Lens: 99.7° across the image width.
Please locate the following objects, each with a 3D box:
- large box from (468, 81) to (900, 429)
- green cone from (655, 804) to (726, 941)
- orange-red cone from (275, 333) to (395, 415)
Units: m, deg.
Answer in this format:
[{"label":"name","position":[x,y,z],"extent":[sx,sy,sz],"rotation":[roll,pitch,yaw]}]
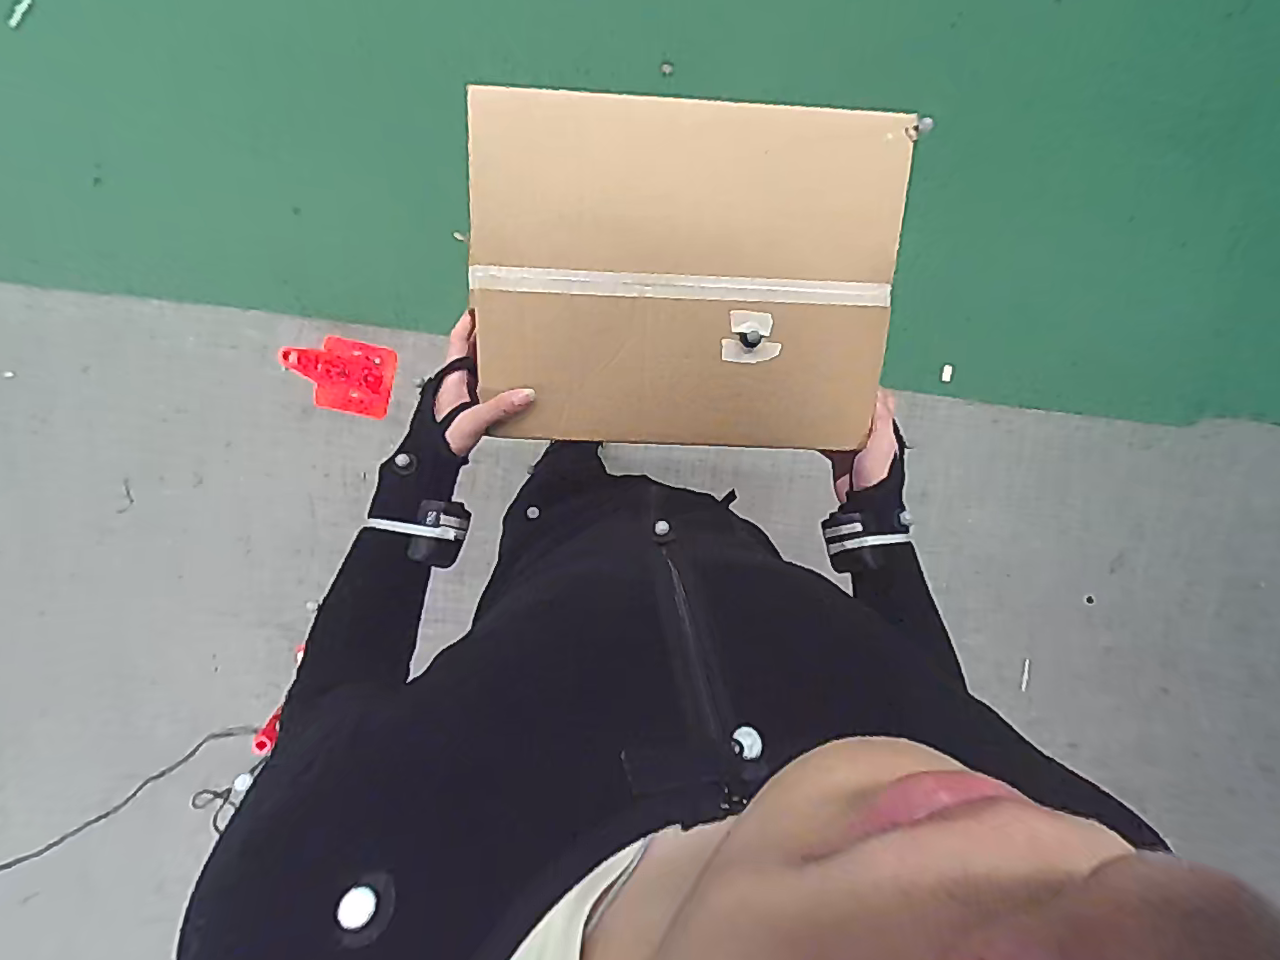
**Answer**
[{"label":"large box","position":[0.032,-0.242,0.671],"extent":[0.408,0.320,0.320],"rotation":[1,106,-3]},{"label":"green cone","position":[0.178,1.133,1.529],"extent":[0.200,0.368,0.202],"rotation":[12,91,-7]},{"label":"orange-red cone","position":[-0.781,-0.285,1.331],"extent":[0.199,0.360,0.198],"rotation":[13,91,-5]}]
